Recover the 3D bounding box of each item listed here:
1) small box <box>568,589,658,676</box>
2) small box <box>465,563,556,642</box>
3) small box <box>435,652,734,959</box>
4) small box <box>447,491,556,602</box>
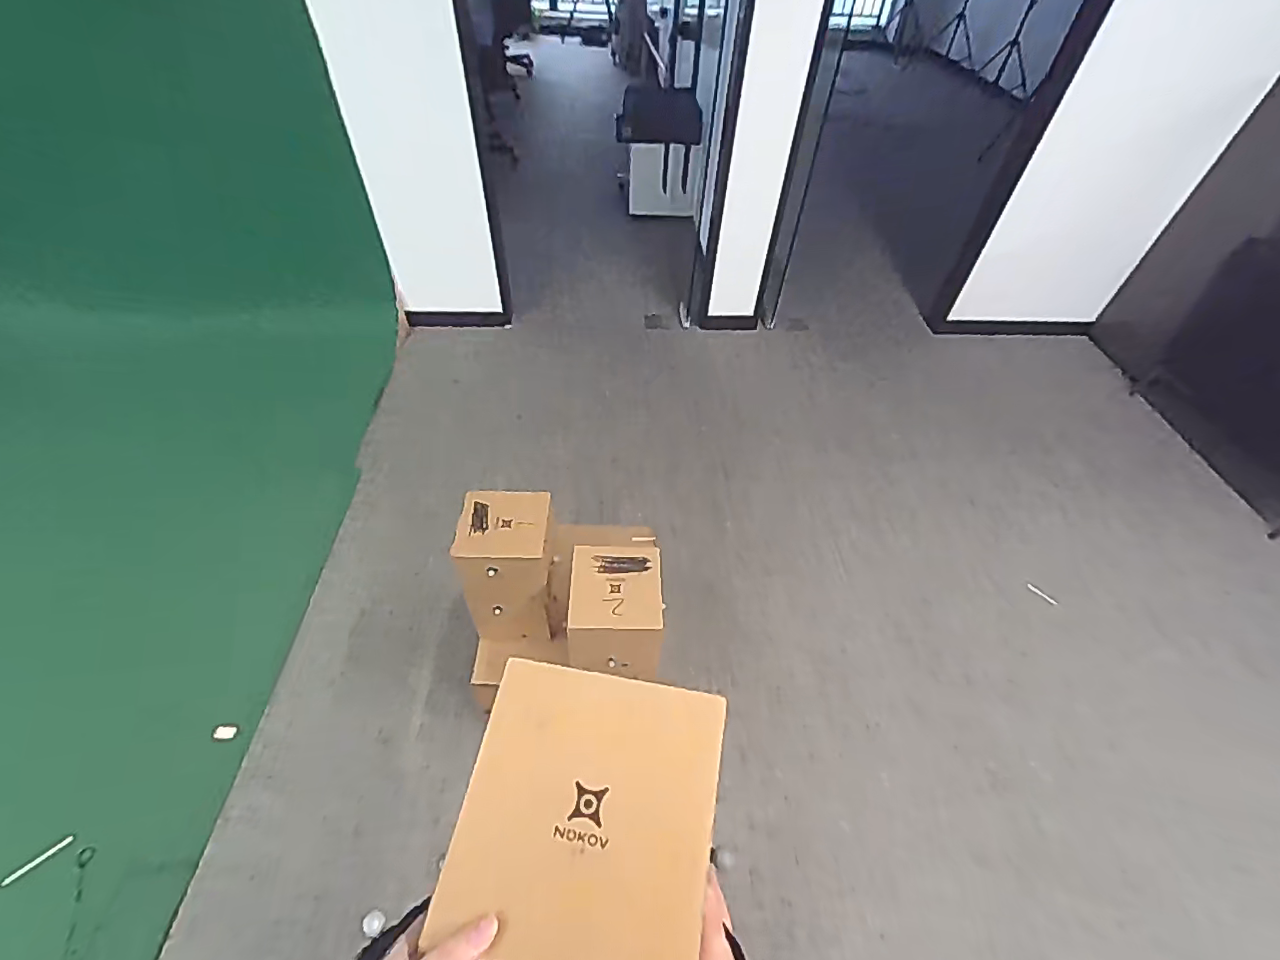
[{"bbox_3d":[-0.059,0.349,1.161,0.179,0.176,0.168,1,47,-3],"label":"small box"},{"bbox_3d":[-0.287,0.250,1.238,0.168,0.176,0.179,1,46,-2],"label":"small box"},{"bbox_3d":[-0.025,0.254,0.421,0.168,0.176,0.179,7,60,8],"label":"small box"},{"bbox_3d":[-0.274,0.140,1.114,0.179,0.176,0.168,0,47,-2],"label":"small box"}]
